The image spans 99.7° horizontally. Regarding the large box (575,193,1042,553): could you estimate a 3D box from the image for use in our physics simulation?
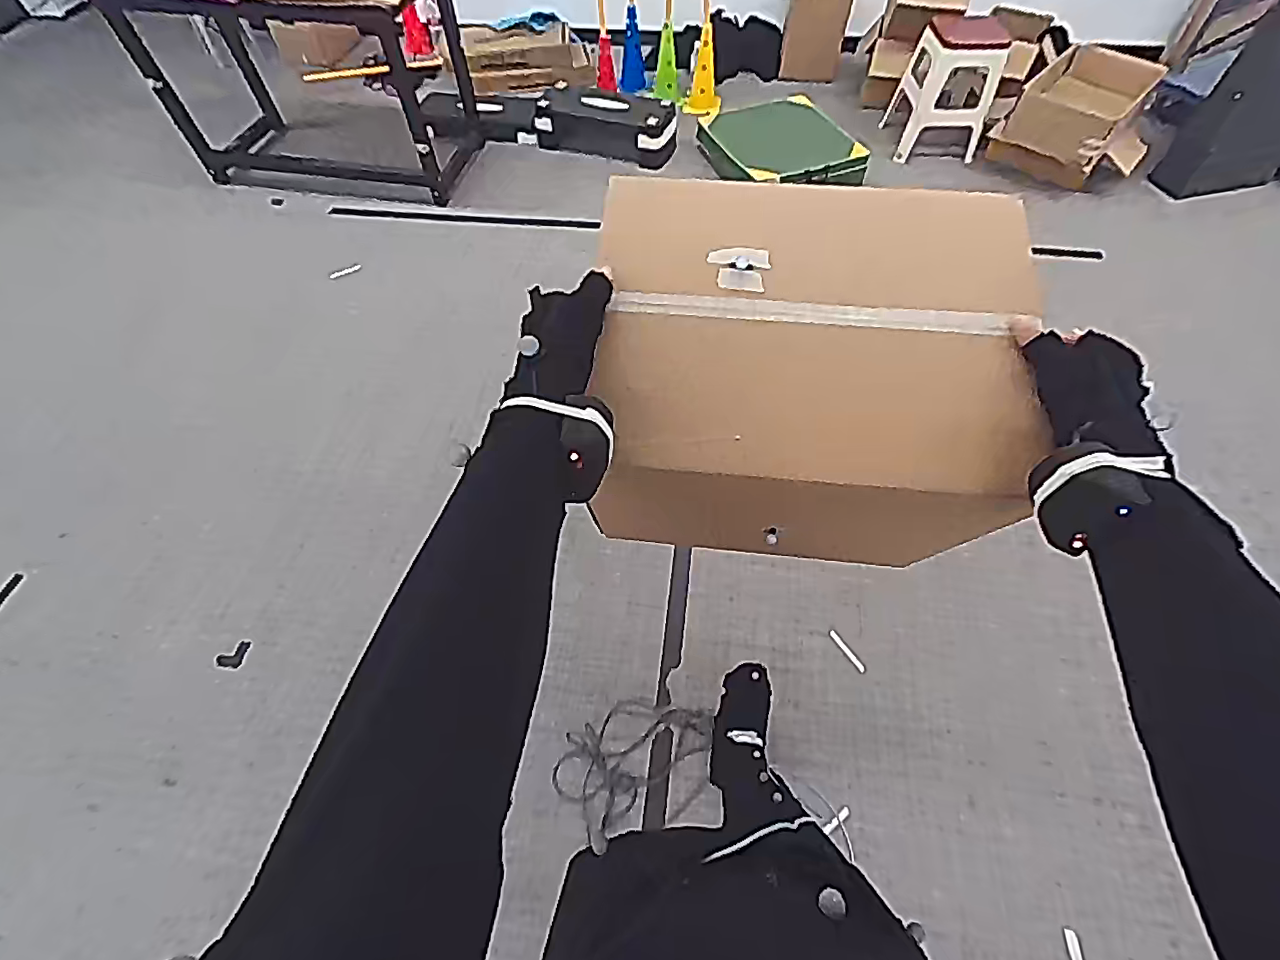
[{"bbox_3d":[0.164,-0.101,0.652,0.408,0.320,0.320,5,71,6],"label":"large box"}]
